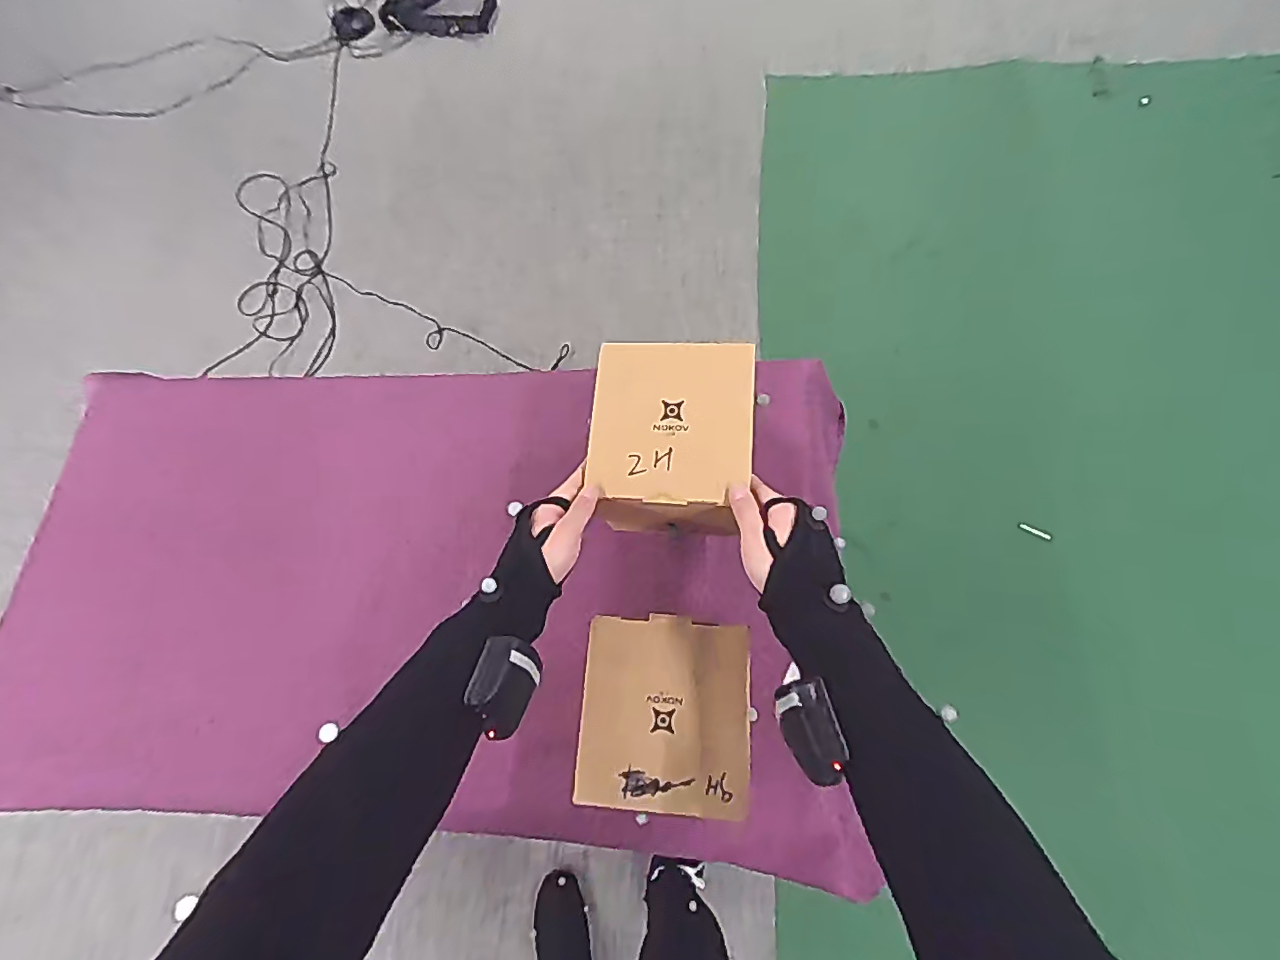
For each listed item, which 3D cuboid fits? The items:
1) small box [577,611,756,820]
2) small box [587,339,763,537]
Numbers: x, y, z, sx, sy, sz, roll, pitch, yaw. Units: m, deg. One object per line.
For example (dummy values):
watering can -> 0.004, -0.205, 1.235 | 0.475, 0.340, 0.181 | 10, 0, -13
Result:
small box -> 0.036, 0.253, 0.600 | 0.168, 0.176, 0.179 | 2, 68, 7
small box -> 0.047, -0.041, 0.616 | 0.168, 0.176, 0.179 | 3, 74, 9
